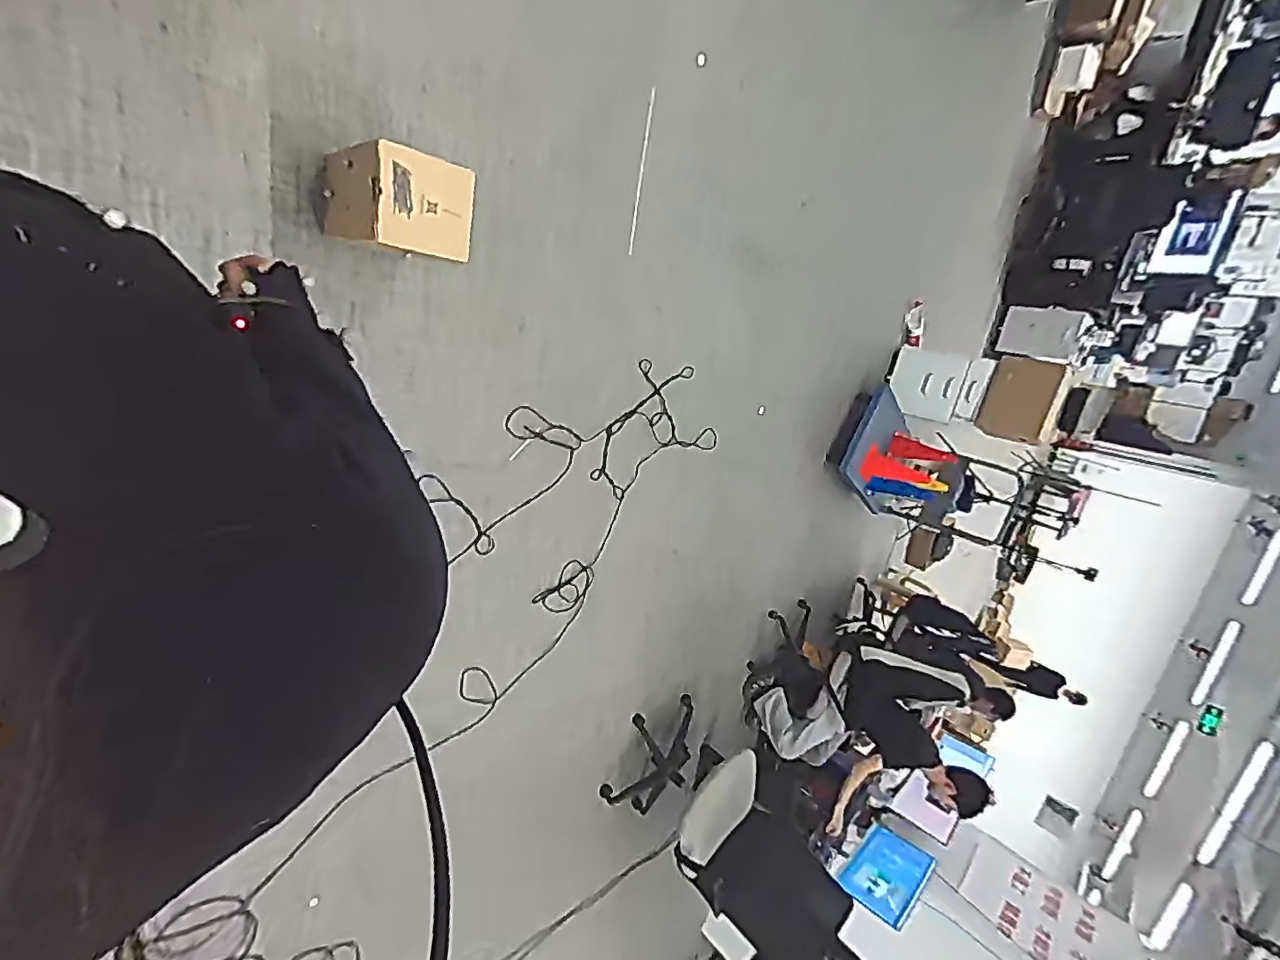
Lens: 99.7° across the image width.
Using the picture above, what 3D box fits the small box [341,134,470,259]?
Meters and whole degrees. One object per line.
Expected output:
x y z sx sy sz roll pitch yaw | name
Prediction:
-0.449 -0.524 1.026 0.179 0.176 0.168 -7 112 -46 | small box

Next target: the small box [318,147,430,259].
-0.554 -0.577 1.142 0.179 0.176 0.168 -3 109 -46 | small box
